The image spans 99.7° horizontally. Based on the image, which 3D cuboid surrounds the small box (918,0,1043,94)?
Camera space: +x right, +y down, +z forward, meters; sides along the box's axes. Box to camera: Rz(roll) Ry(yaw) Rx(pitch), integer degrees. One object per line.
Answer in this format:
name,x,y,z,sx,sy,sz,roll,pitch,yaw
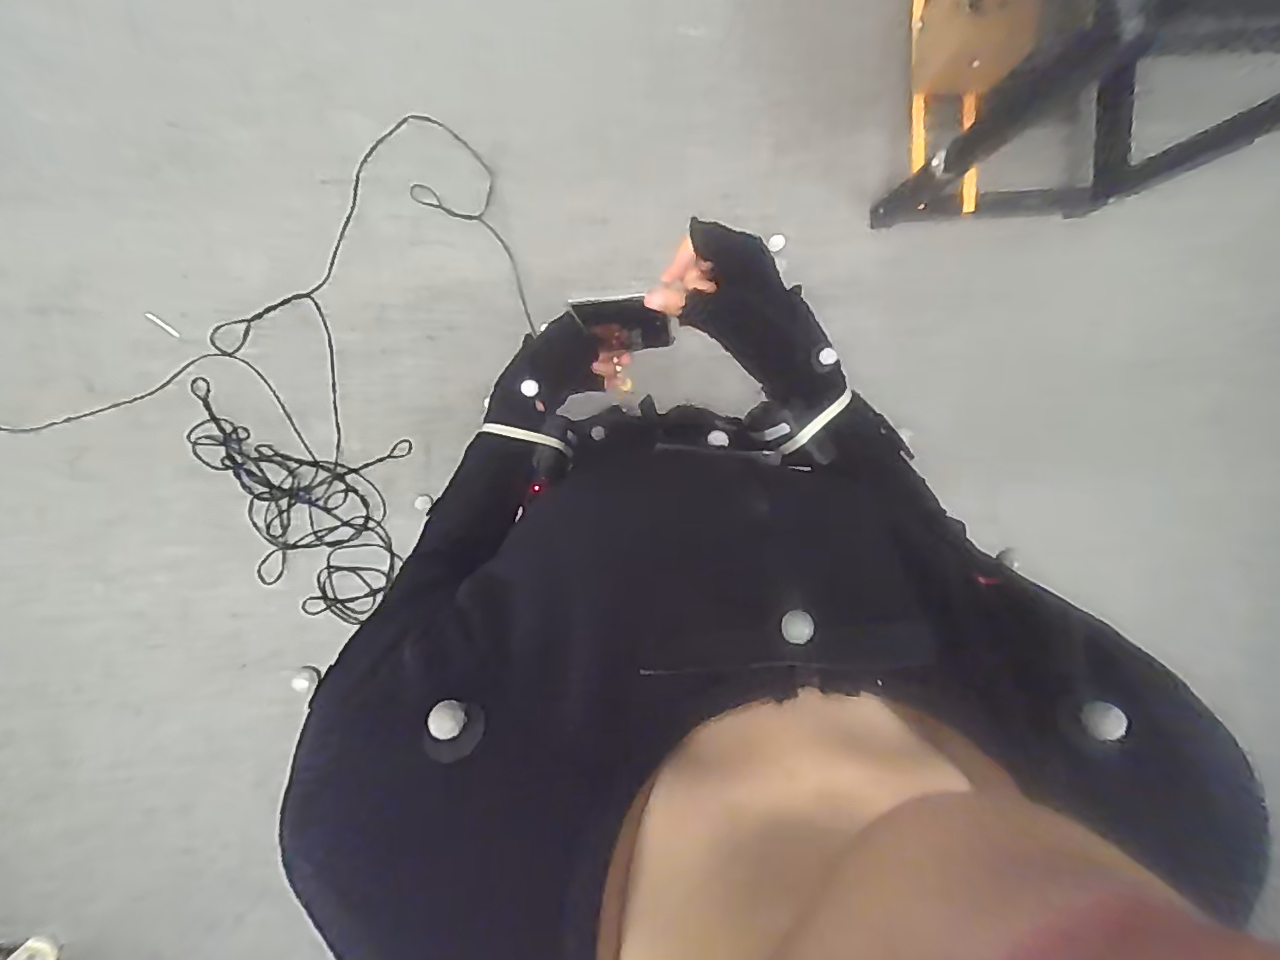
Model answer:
small box,0.739,-0.983,1.188,0.179,0.176,0.168,0,97,-2
